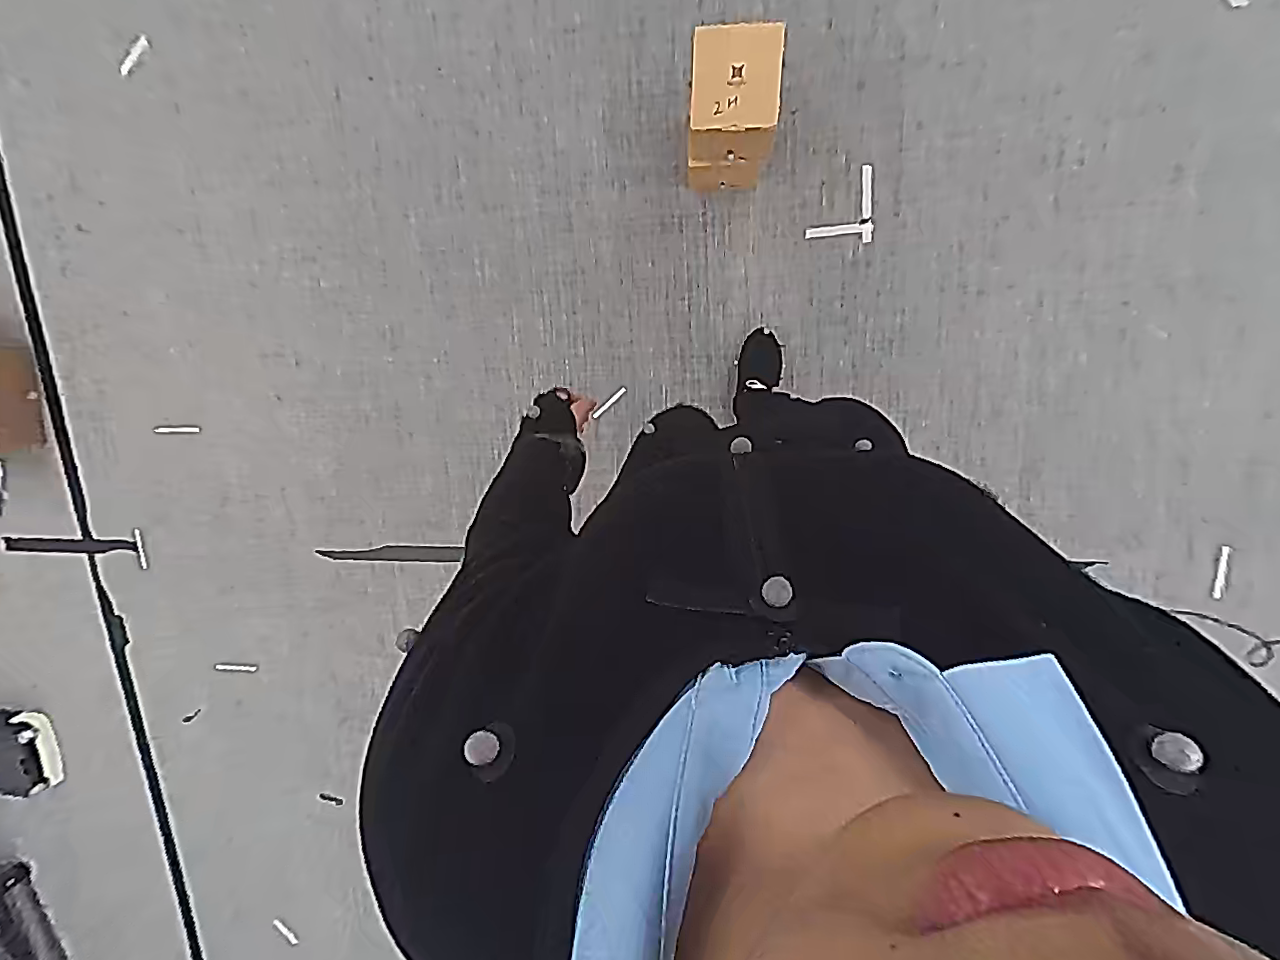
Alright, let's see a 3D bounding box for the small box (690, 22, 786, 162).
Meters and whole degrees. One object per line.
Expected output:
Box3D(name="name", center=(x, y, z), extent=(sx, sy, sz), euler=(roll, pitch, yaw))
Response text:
Box3D(name="small box", center=(0.190, -0.761, 1.077), extent=(0.168, 0.176, 0.179), euler=(4, 102, 8))
